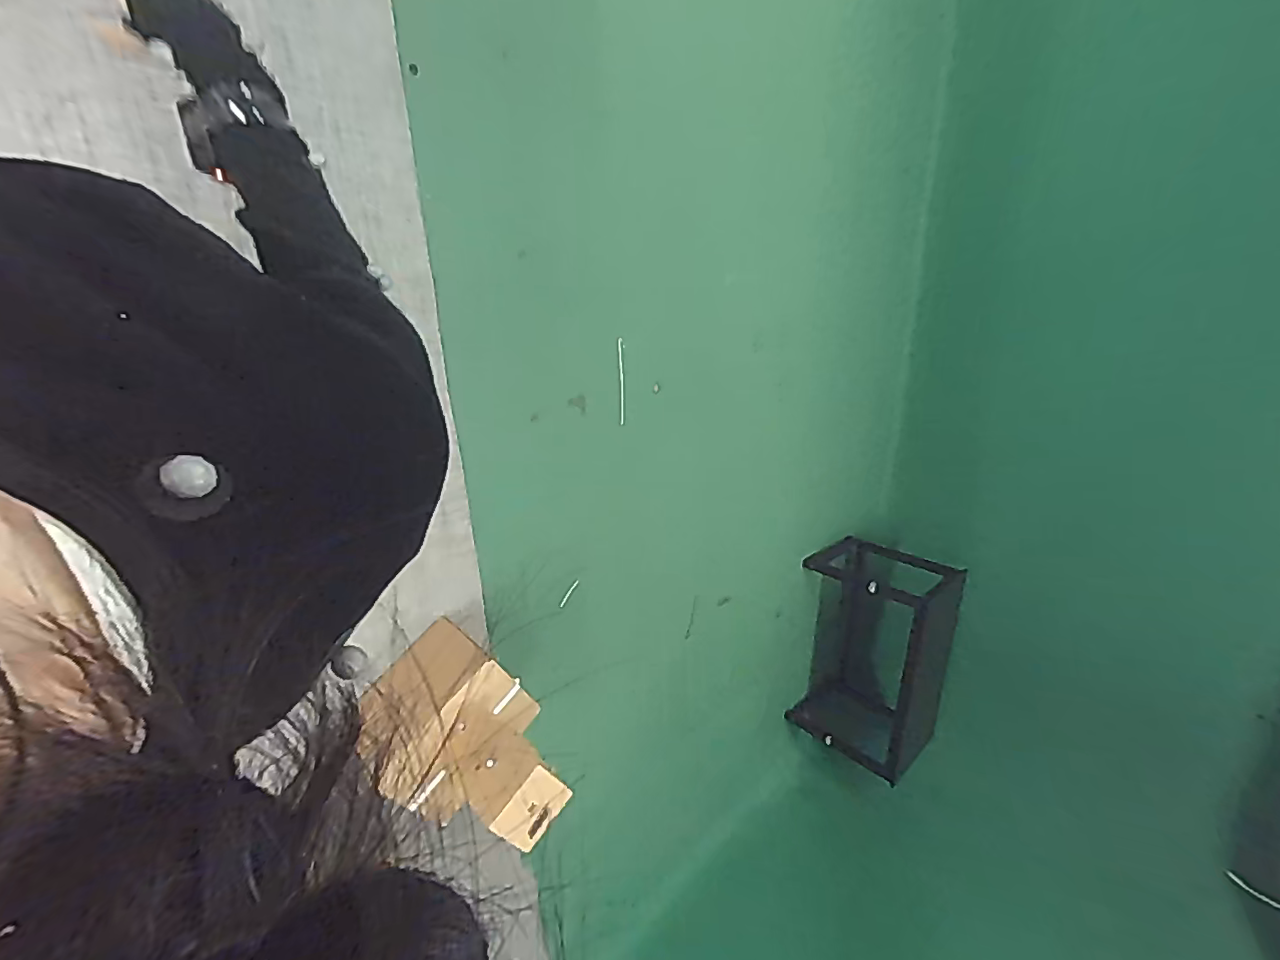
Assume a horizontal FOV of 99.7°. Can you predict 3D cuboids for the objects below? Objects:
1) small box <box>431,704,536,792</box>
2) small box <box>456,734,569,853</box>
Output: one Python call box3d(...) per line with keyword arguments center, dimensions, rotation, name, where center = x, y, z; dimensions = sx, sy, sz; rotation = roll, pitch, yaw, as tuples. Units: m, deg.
box3d(center=(-0.421, 0.738, 1.457), dimensions=(0.168, 0.176, 0.179), rotation=(-51, 132, -21), name="small box")
box3d(center=(-0.315, 0.765, 1.335), dimensions=(0.168, 0.176, 0.179), rotation=(-47, 129, -24), name="small box")
